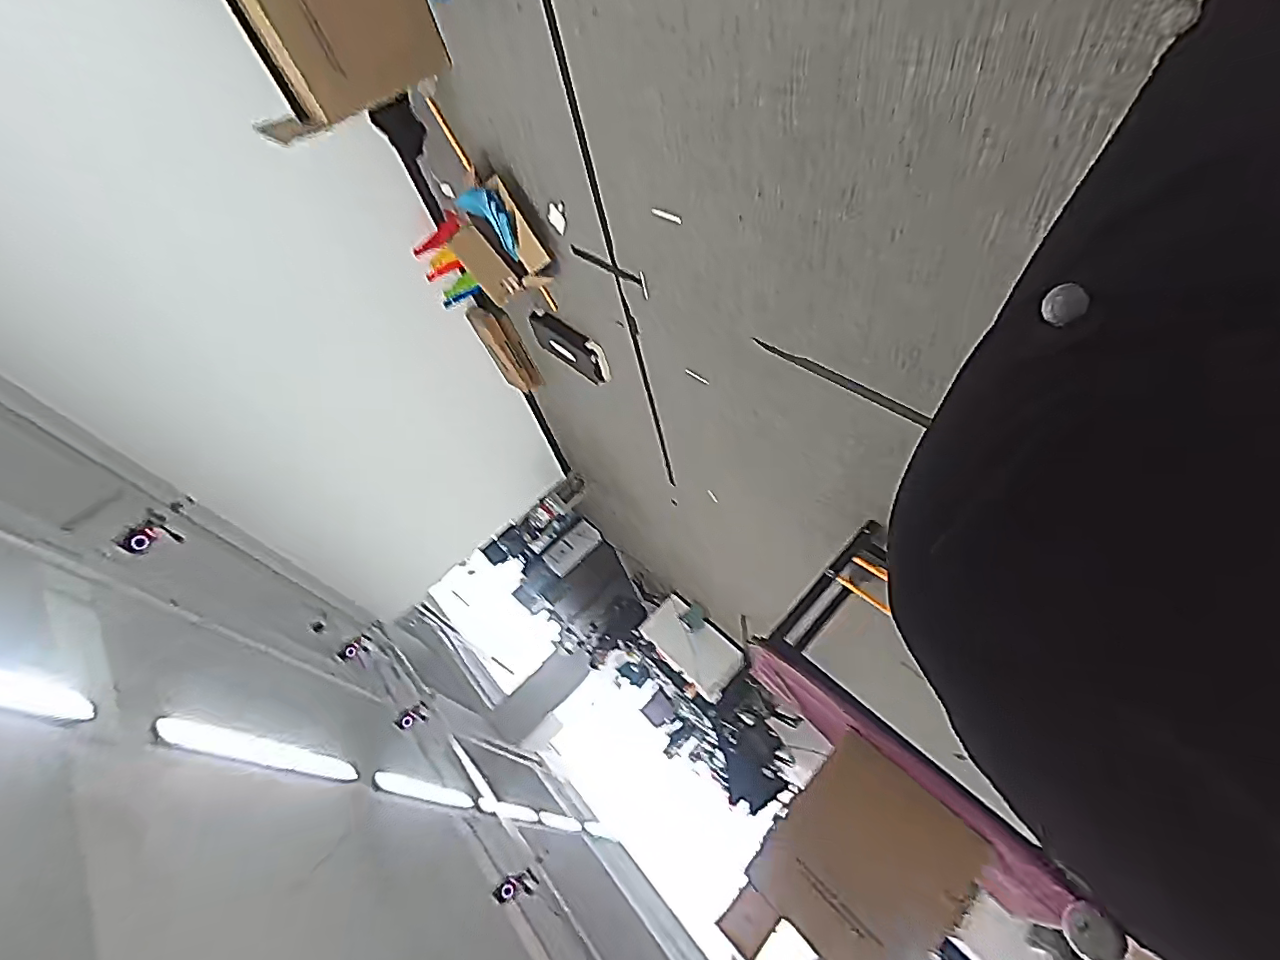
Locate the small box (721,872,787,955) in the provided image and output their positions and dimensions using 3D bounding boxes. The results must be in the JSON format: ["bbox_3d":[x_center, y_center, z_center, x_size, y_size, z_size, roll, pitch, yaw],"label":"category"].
[{"bbox_3d":[0.416,1.562,1.961,0.168,0.176,0.179,36,160,31],"label":"small box"}]
